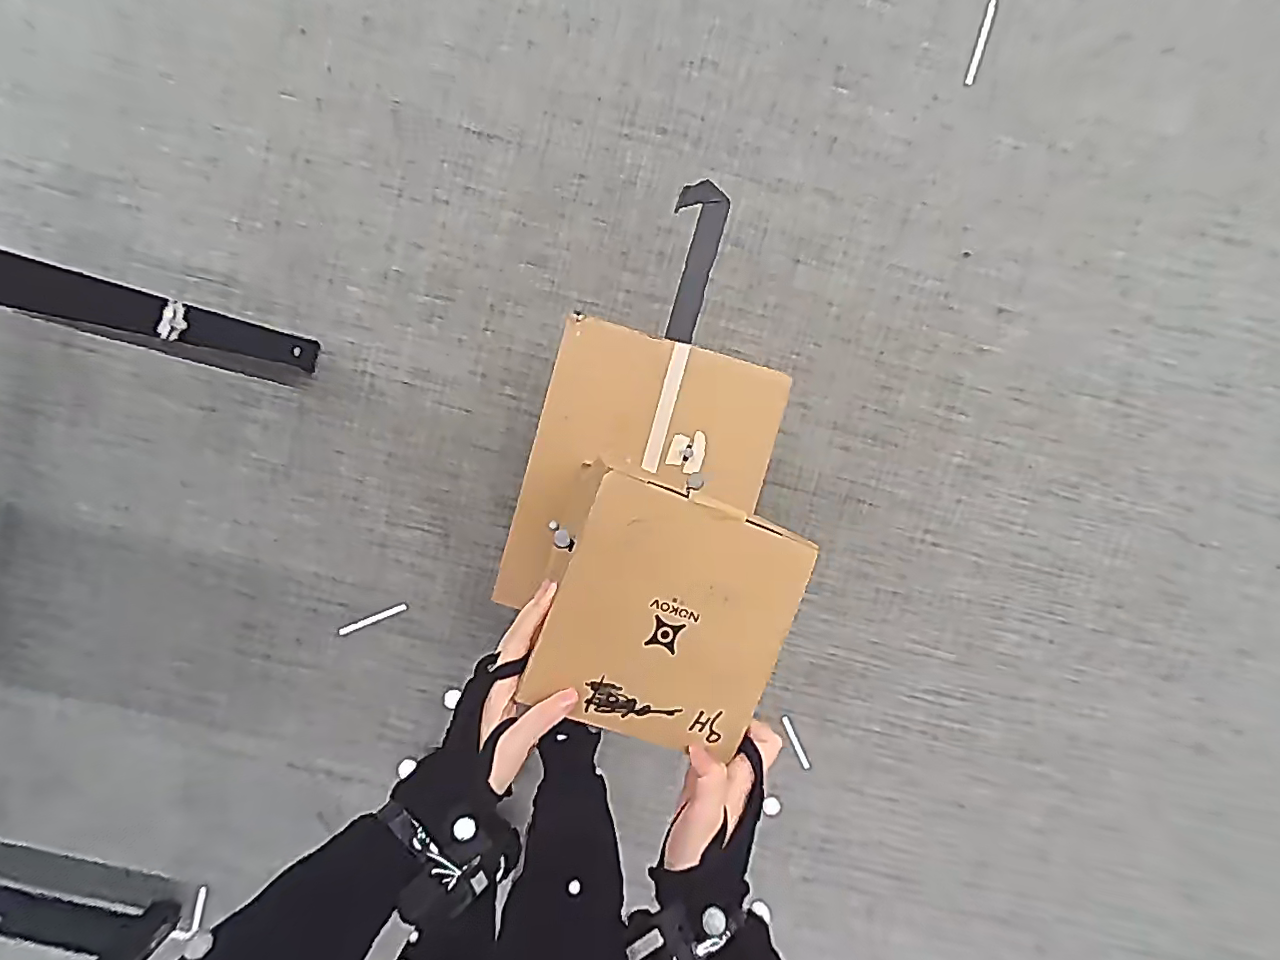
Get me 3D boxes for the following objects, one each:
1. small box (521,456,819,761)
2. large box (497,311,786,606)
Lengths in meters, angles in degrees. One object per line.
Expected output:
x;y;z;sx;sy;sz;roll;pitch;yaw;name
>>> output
0.013;0.087;0.454;0.168;0.176;0.179;22;92;-8;small box
-0.003;-0.001;0.876;0.320;0.320;0.408;16;93;-4;large box
